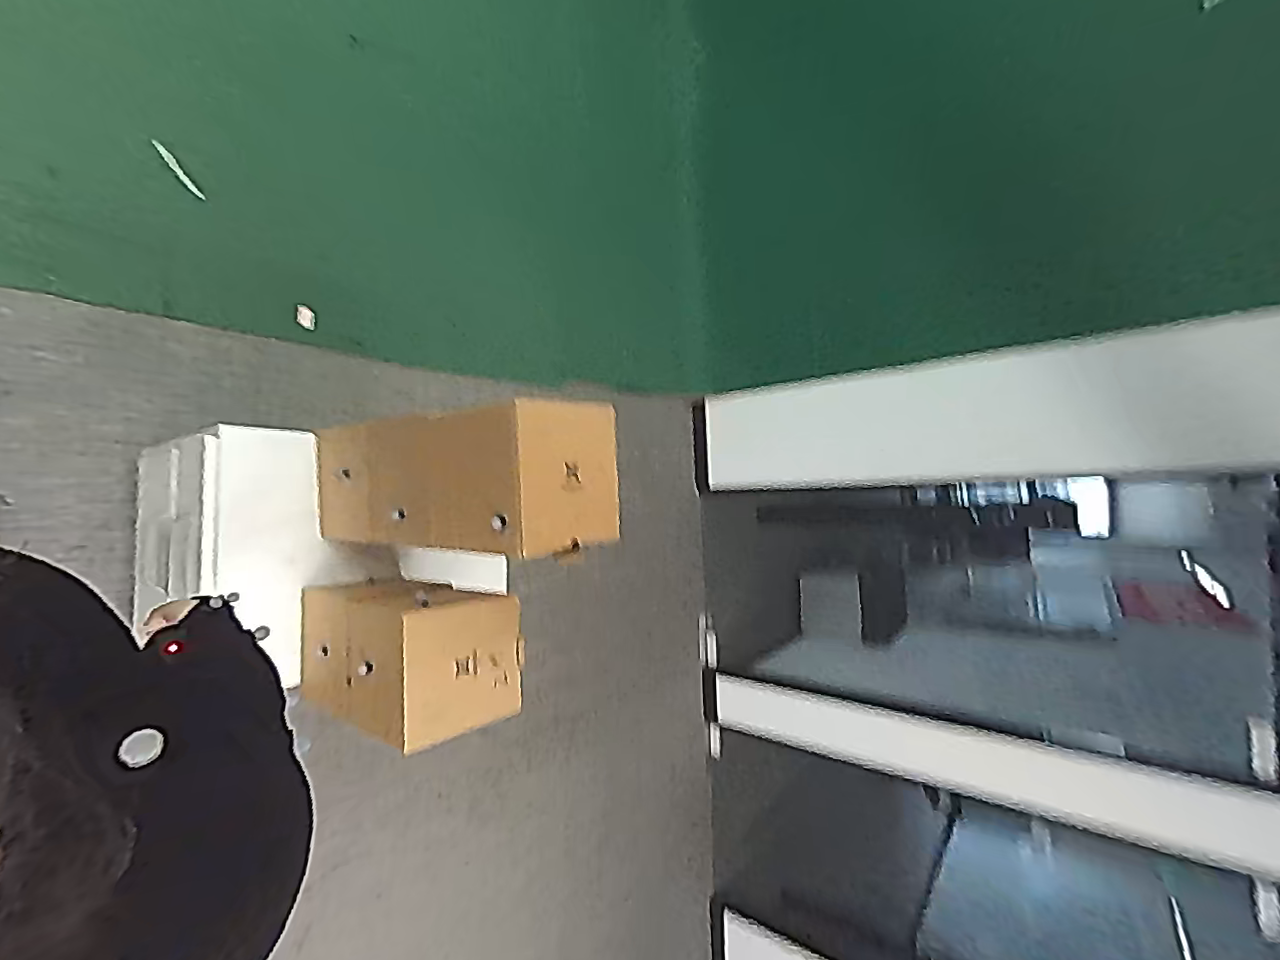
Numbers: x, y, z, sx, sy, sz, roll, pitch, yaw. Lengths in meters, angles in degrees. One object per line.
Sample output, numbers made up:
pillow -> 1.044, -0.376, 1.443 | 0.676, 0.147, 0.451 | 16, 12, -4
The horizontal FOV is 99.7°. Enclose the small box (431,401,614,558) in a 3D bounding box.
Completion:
small box -> -0.152, -0.003, 0.697 | 0.168, 0.176, 0.179 | -5, 94, -53

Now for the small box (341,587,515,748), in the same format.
small box -> -0.297, 0.247, 0.759 | 0.179, 0.176, 0.168 | 3, 85, -52

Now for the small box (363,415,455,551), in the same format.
small box -> -0.283, 0.001, 0.794 | 0.168, 0.176, 0.179 | -6, 94, -53
